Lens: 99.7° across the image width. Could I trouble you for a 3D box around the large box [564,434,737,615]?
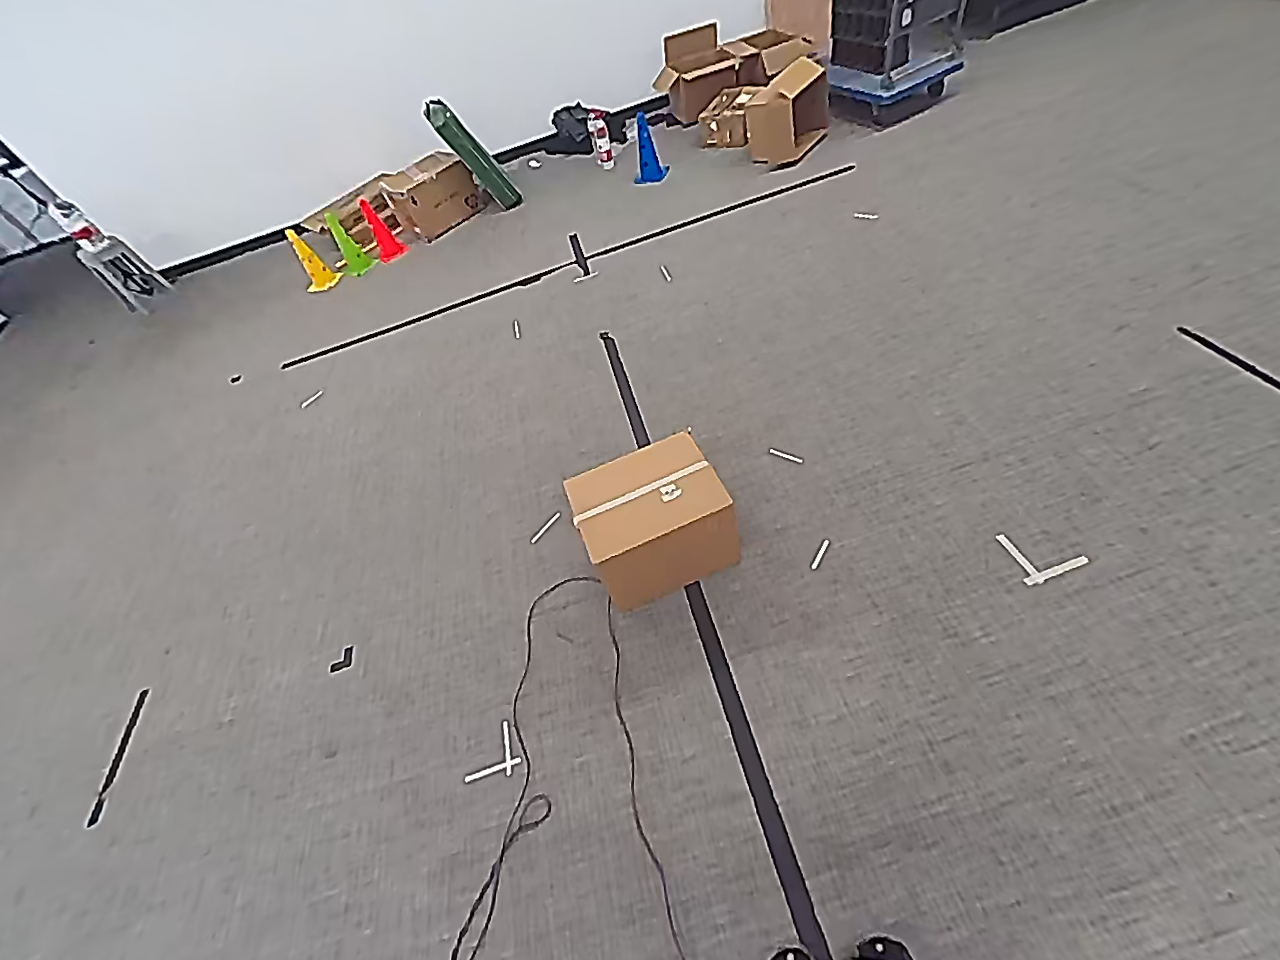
[{"bbox_3d":[0.037,0.136,1.610,0.408,0.320,0.320,-23,50,-5],"label":"large box"}]
